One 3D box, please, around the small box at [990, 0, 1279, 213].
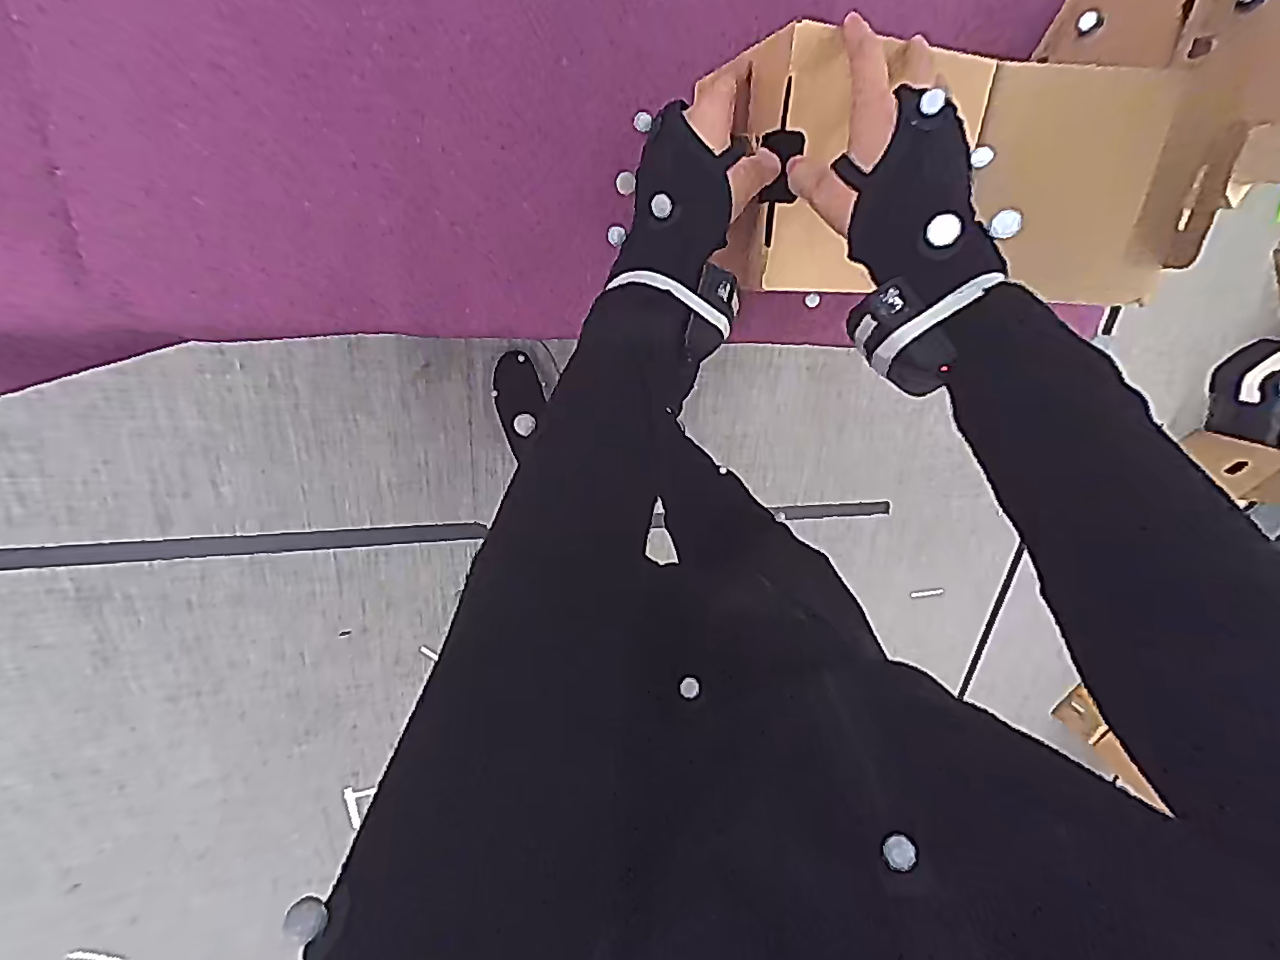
[{"bbox_3d":[0.504,-0.389,0.534,0.179,0.176,0.168,23,104,-27],"label":"small box"}]
